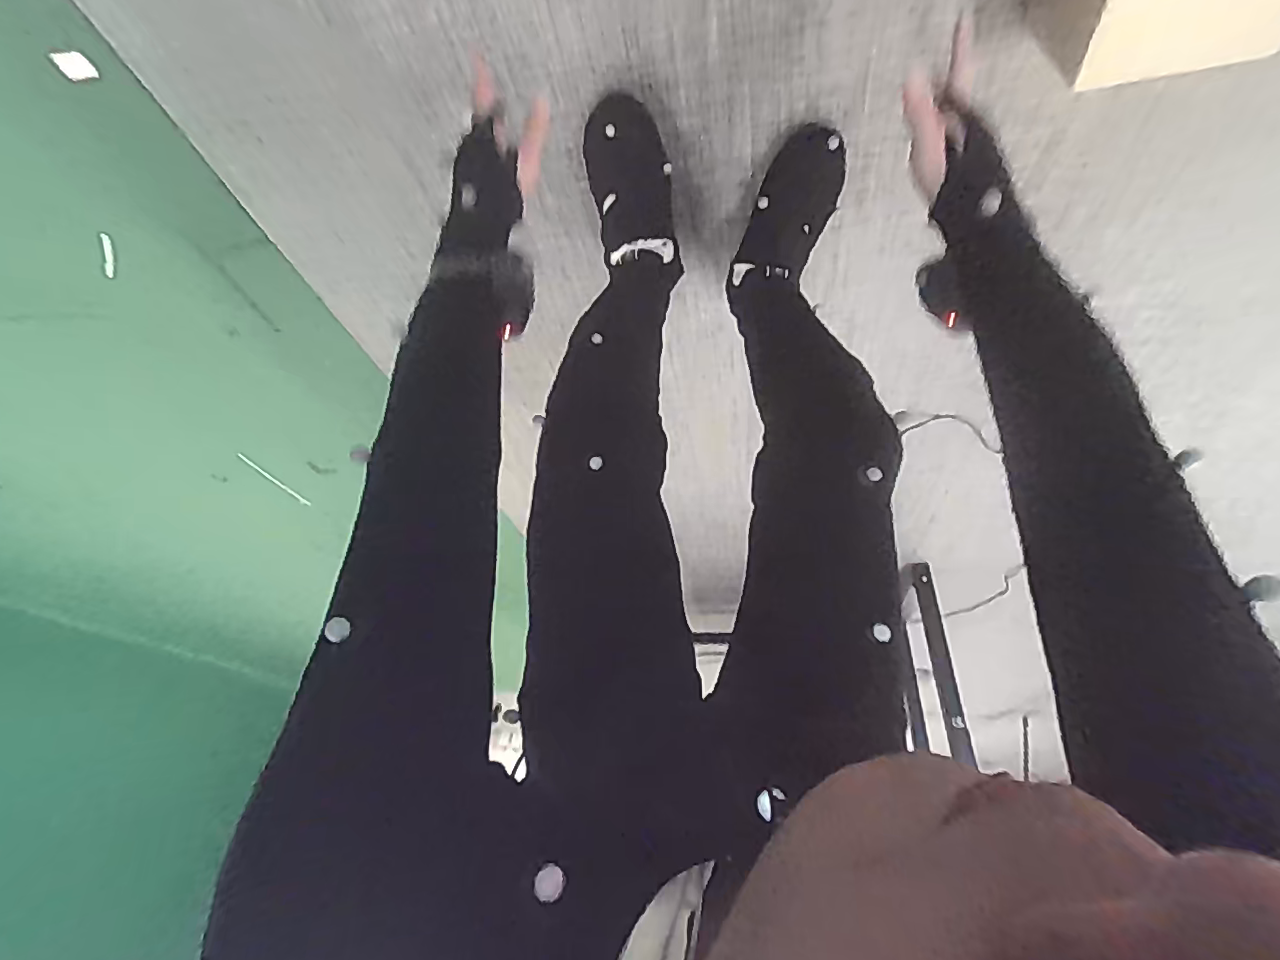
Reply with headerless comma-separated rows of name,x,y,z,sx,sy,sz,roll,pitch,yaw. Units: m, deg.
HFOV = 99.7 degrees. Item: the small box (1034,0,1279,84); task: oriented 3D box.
small box,0.512,-0.514,0.505,0.179,0.176,0.168,-4,147,12
